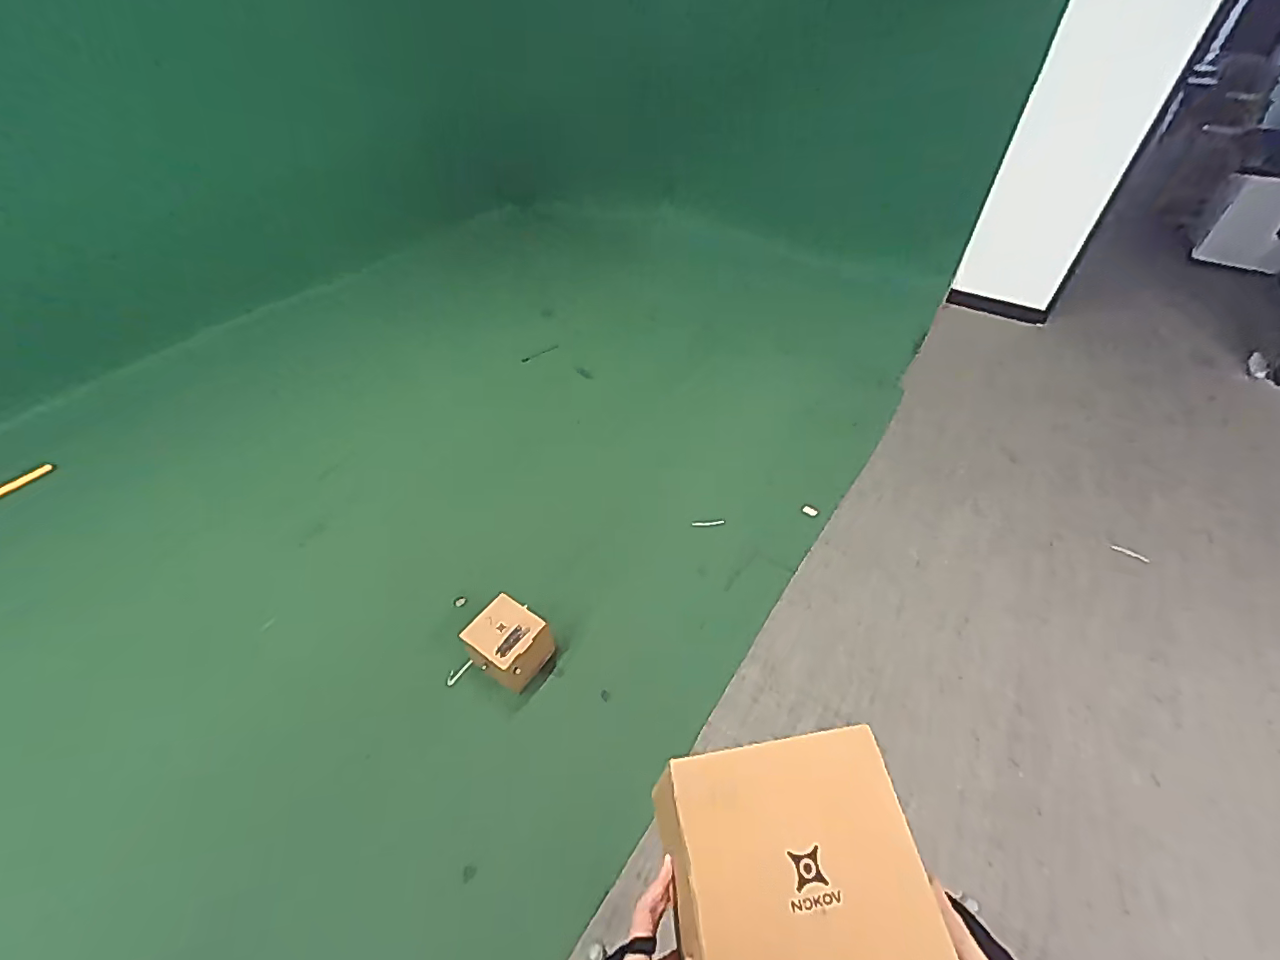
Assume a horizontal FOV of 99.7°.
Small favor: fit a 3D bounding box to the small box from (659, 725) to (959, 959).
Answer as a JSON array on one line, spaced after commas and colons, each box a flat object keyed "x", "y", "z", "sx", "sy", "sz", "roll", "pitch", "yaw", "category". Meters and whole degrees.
[{"x": 0.114, "y": 0.323, "z": 0.442, "sx": 0.168, "sy": 0.176, "sz": 0.179, "roll": -7, "pitch": 56, "yaw": -8, "category": "small box"}]
